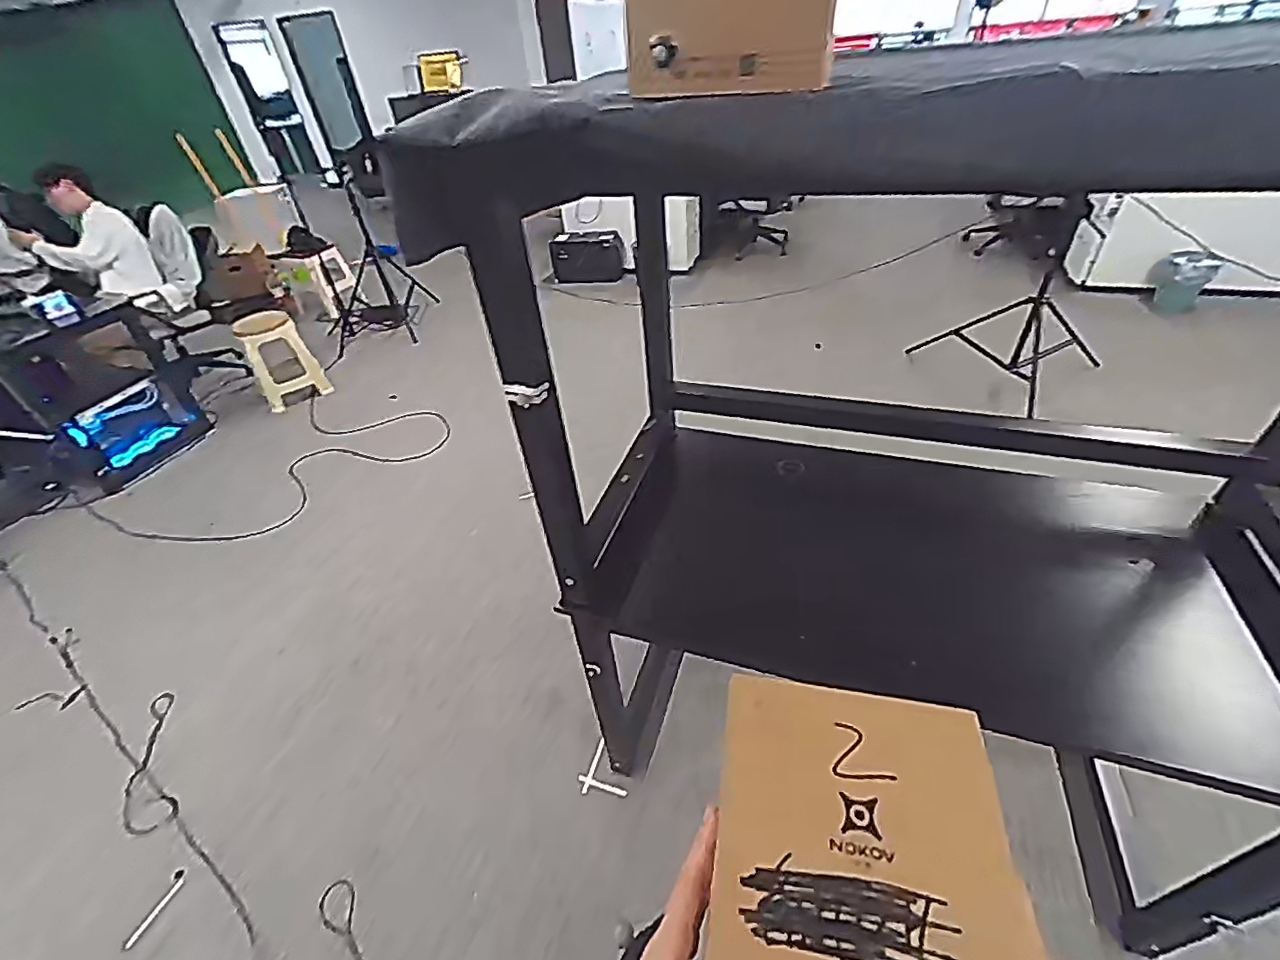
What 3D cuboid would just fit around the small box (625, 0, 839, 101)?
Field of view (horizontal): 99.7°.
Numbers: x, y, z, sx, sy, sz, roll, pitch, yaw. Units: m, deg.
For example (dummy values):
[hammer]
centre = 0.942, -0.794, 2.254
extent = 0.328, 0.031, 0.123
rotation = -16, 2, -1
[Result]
[small box]
centre = 0.087, -0.433, 0.466
extent = 0.168, 0.176, 0.179
rotation = 9, 39, 15
